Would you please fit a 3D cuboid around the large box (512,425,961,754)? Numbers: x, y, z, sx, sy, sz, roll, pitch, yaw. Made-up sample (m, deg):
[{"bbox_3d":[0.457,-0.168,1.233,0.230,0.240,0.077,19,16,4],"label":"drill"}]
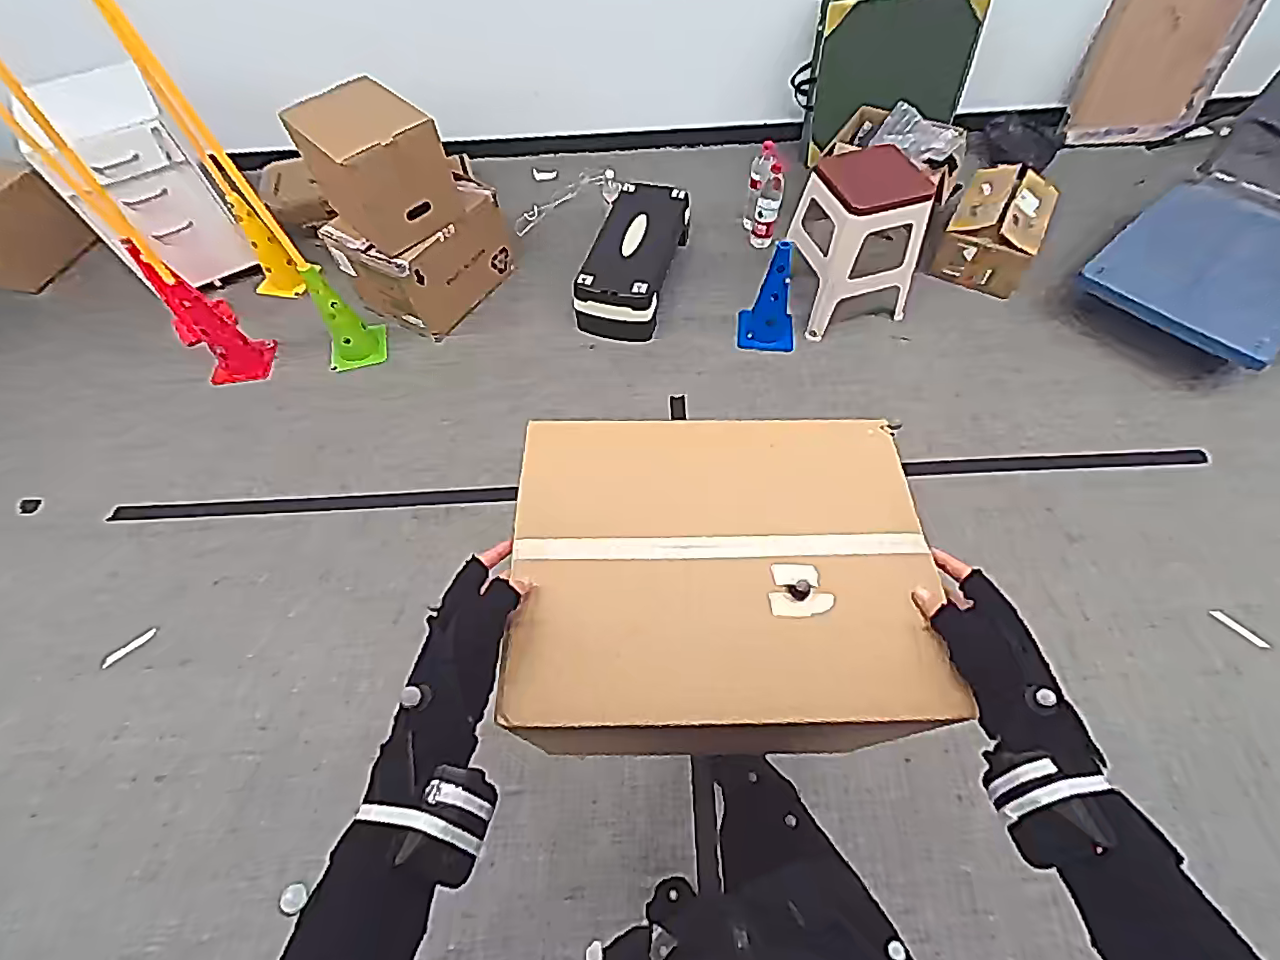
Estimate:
[{"bbox_3d":[0.077,0.147,0.670,0.408,0.320,0.320,-1,59,-2],"label":"large box"}]
